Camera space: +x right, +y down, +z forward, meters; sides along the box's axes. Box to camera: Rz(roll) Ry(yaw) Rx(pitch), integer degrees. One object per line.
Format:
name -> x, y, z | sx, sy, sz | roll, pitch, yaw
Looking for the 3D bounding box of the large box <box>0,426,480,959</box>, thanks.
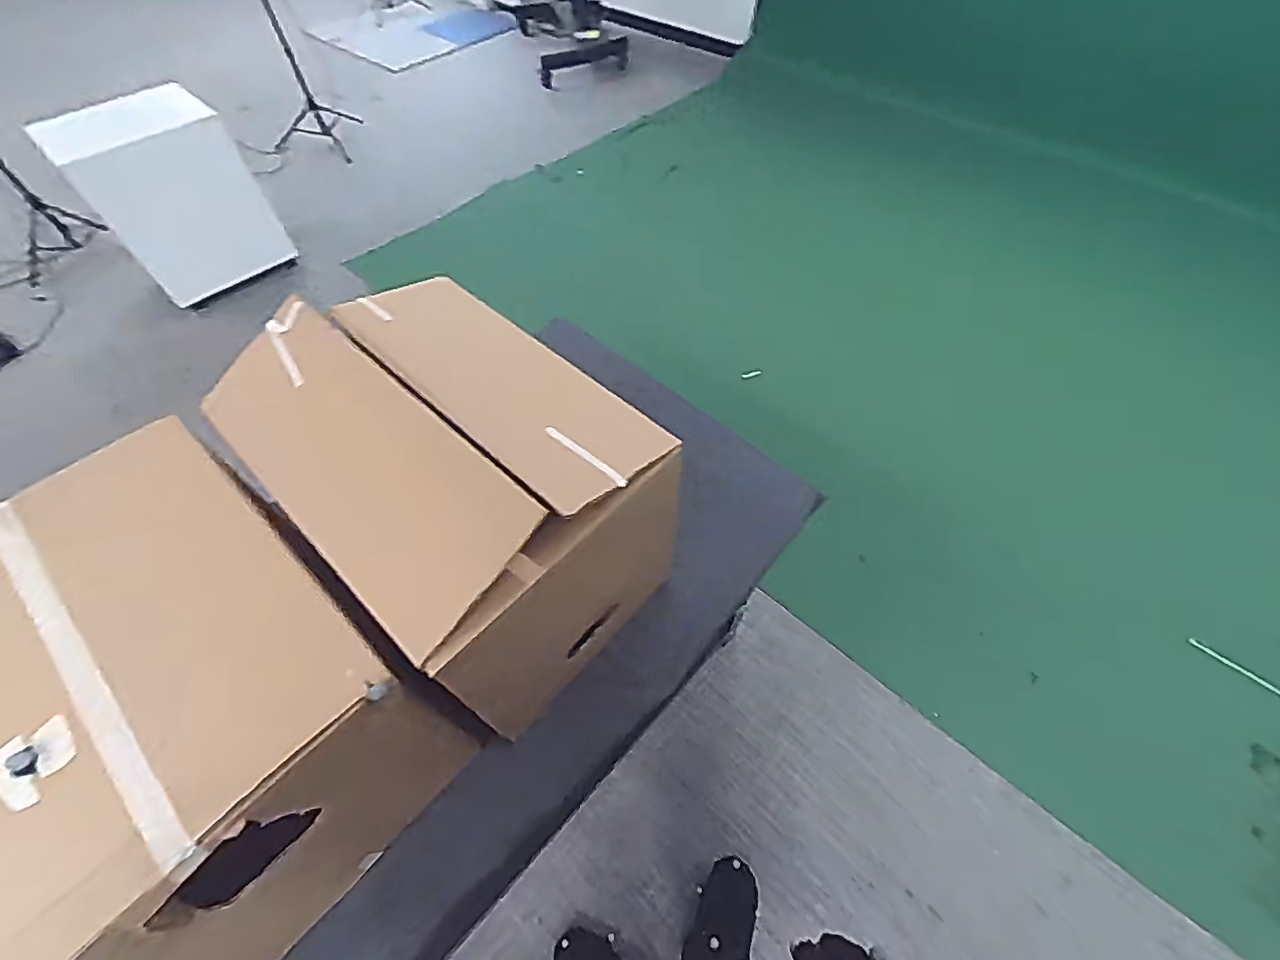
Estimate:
large box -> -0.438, 0.223, 0.554 | 0.408, 0.320, 0.320 | 36, 63, 22
